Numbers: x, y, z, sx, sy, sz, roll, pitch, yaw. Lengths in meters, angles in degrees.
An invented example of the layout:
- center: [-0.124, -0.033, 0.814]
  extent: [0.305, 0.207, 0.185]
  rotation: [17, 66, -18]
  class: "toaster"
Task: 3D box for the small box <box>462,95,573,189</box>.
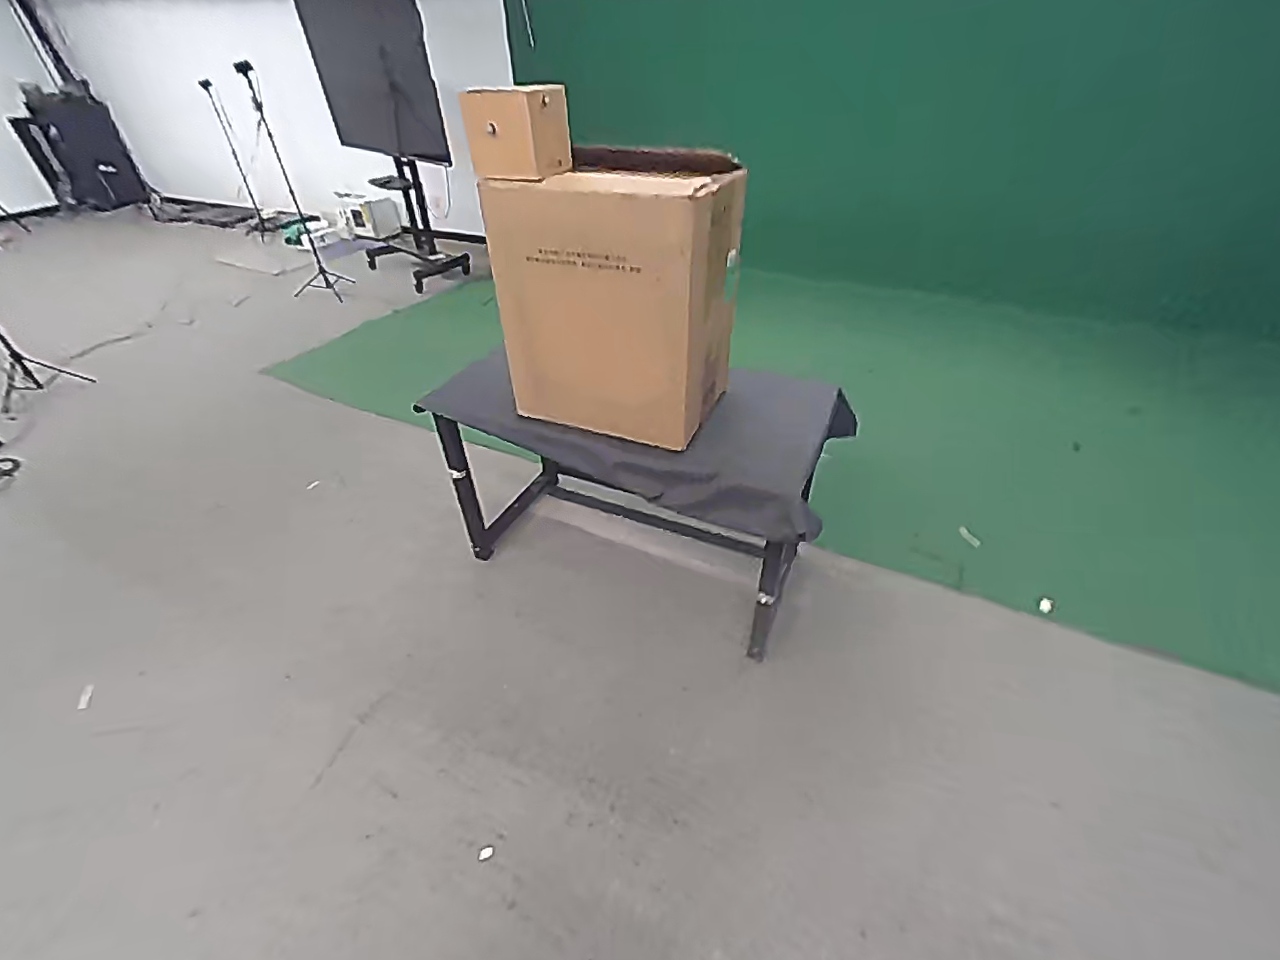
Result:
- center: [-0.276, -0.783, 1.255]
  extent: [0.179, 0.176, 0.168]
  rotation: [12, 41, 20]
  class: "small box"
